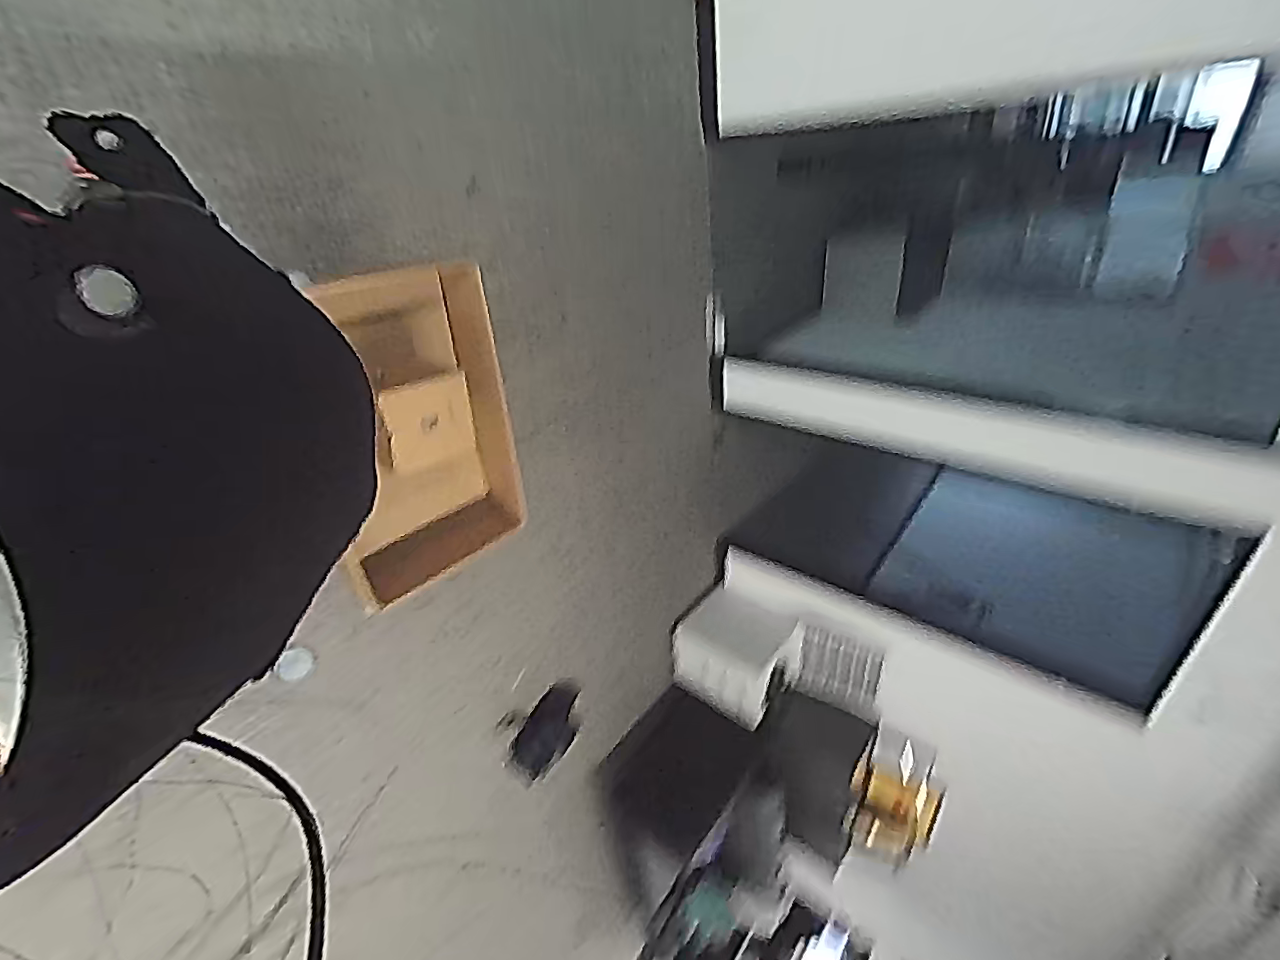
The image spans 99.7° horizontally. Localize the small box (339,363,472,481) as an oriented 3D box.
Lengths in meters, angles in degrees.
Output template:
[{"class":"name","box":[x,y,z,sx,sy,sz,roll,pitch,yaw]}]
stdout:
[{"class":"small box","box":[-0.462,-0.122,1.063,0.179,0.176,0.168,-32,132,-44]}]
